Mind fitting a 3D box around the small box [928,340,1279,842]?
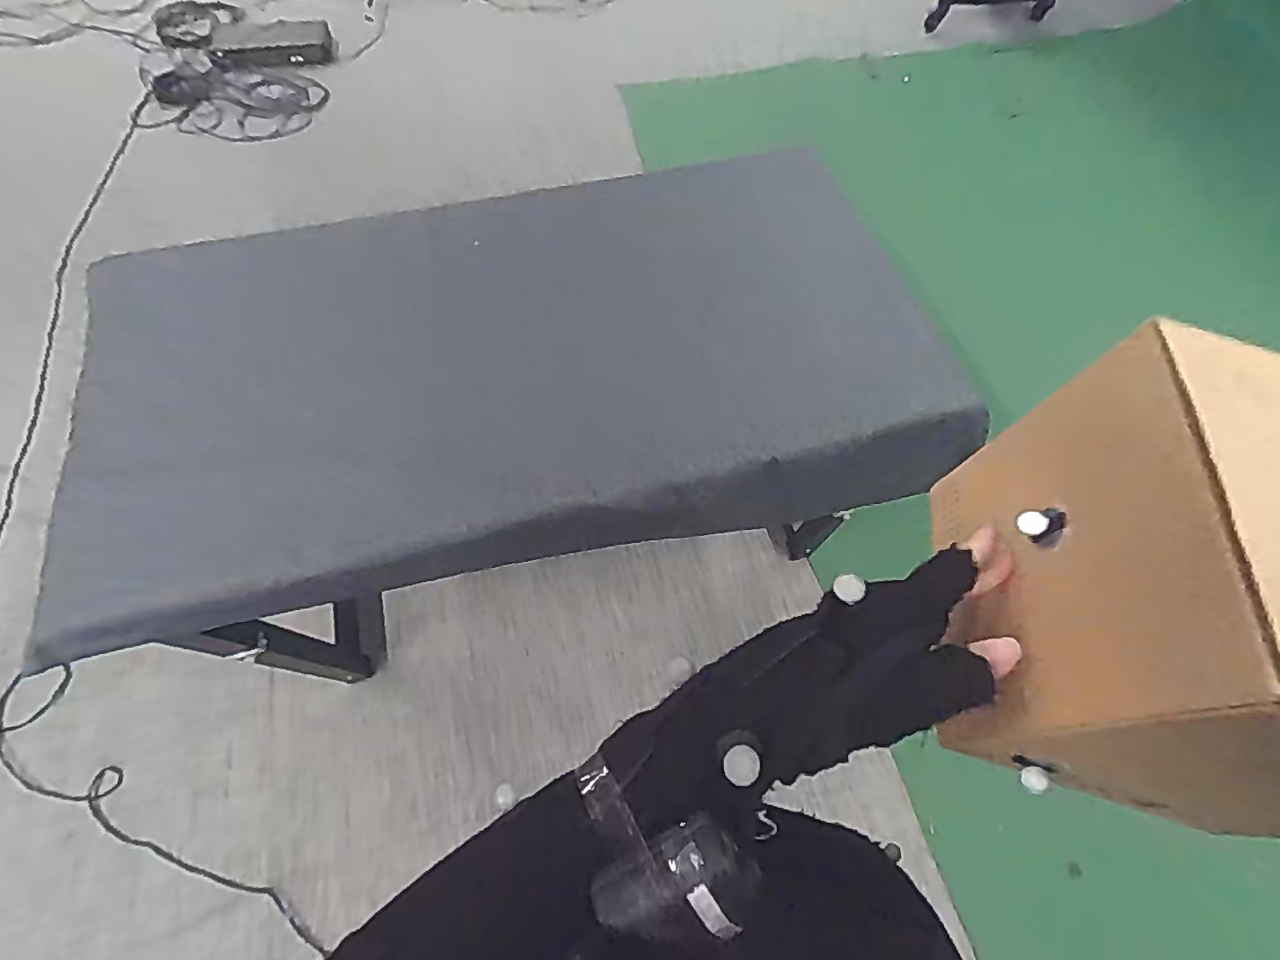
[{"bbox_3d":[0.274,0.068,0.278,0.168,0.176,0.179,18,58,0],"label":"small box"}]
